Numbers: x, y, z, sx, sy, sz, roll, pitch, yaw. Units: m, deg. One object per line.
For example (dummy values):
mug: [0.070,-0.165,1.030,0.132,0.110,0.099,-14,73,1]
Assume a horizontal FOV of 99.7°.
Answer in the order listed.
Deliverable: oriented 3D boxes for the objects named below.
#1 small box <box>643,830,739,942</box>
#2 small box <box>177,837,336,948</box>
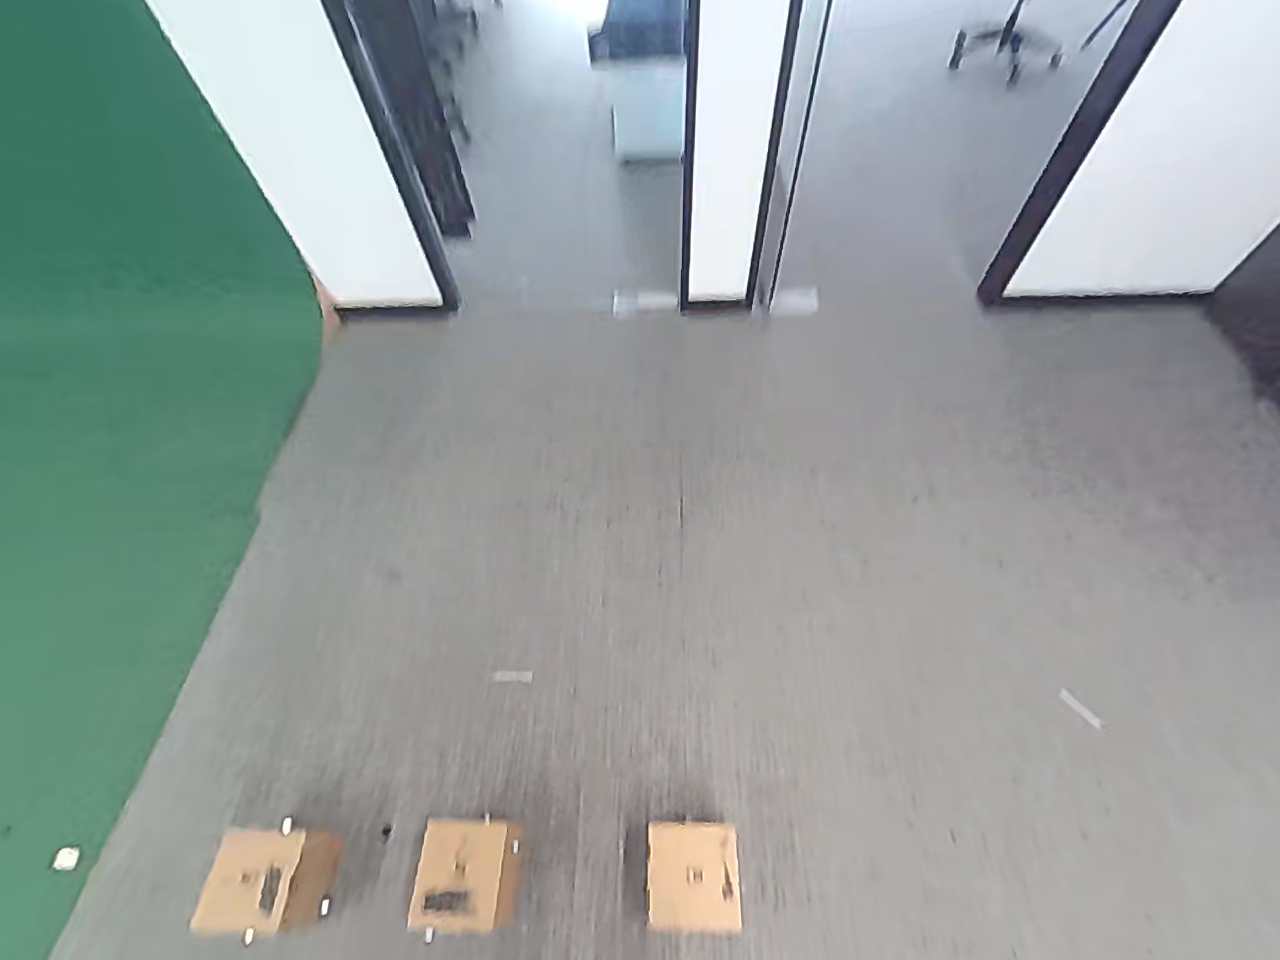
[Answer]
small box: [0.099,0.807,1.083,0.179,0.176,0.168,0,55,2]
small box: [-0.759,0.827,1.097,0.179,0.176,0.168,0,55,3]
